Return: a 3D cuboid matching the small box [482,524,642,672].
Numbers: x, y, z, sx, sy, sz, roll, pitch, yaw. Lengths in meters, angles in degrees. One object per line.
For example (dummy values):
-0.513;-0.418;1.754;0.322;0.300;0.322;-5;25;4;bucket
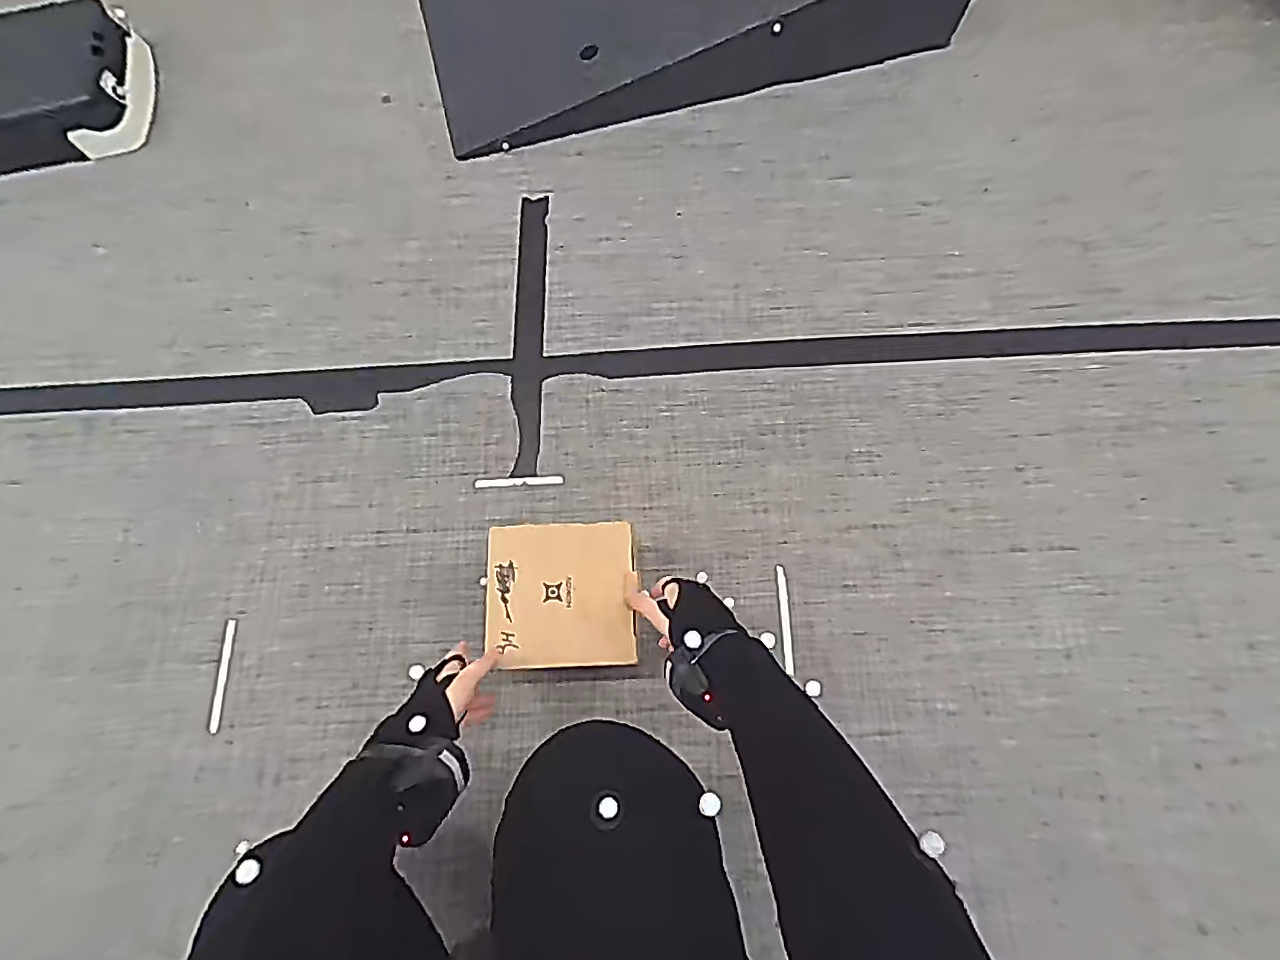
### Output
-0.088;0.152;0.691;0.179;0.176;0.168;-1;74;0;small box
